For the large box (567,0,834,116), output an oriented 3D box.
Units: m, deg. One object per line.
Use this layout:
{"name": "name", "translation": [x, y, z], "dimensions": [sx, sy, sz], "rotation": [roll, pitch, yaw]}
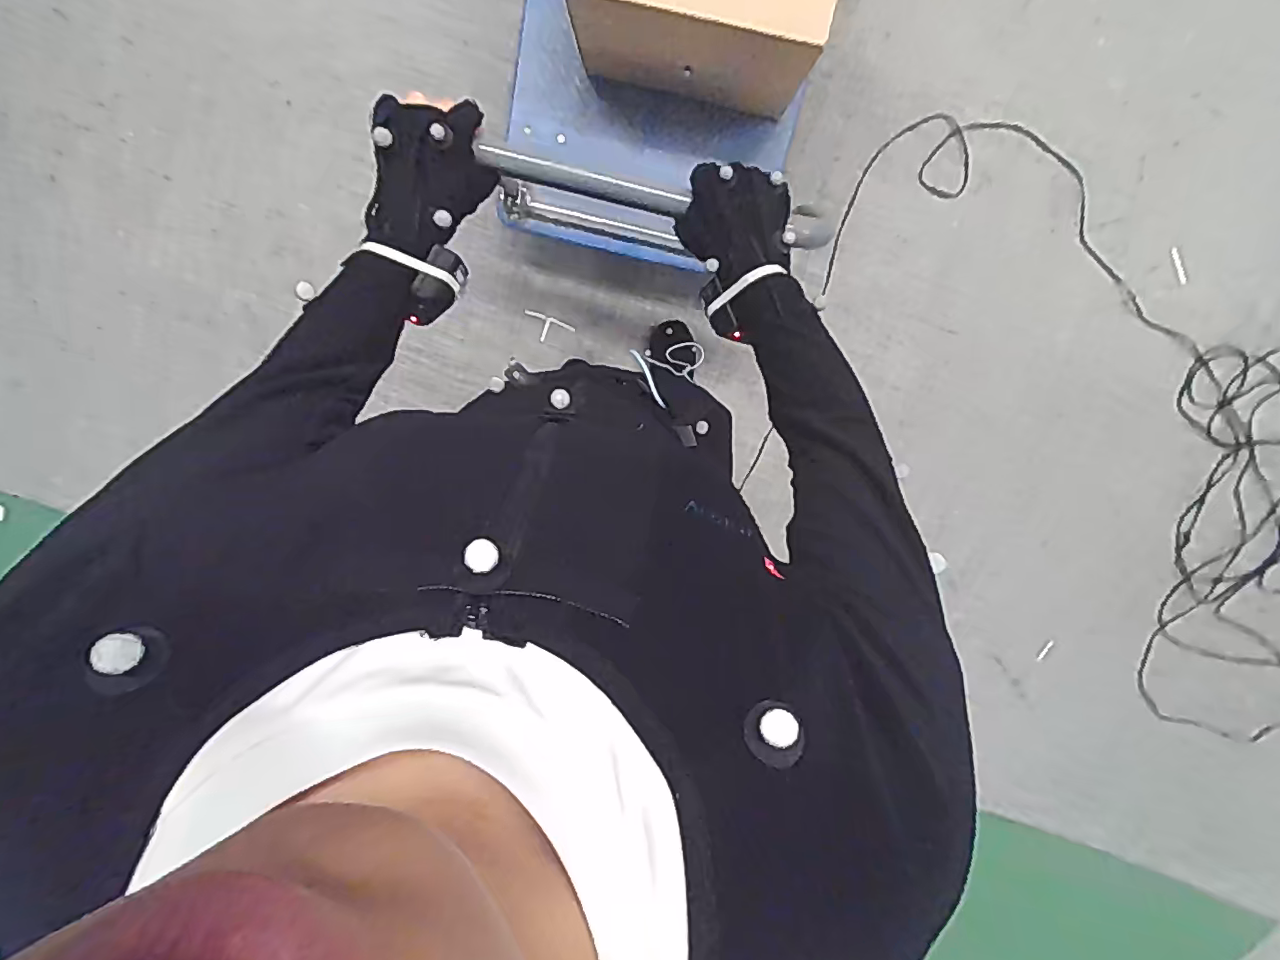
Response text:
{"name": "large box", "translation": [0.117, -0.875, 0.917], "dimensions": [0.408, 0.320, 0.320], "rotation": [12, 106, -1]}
